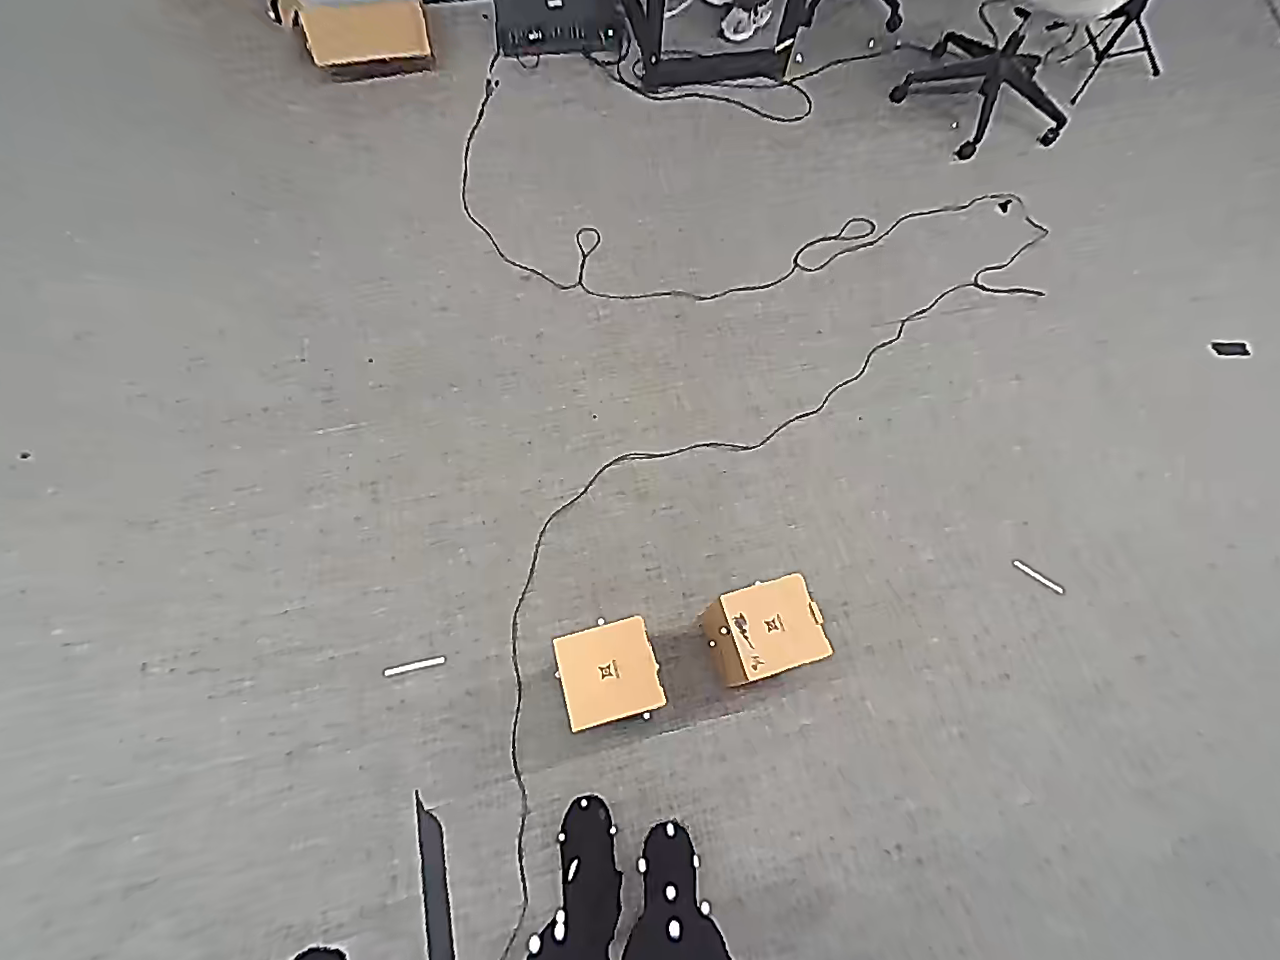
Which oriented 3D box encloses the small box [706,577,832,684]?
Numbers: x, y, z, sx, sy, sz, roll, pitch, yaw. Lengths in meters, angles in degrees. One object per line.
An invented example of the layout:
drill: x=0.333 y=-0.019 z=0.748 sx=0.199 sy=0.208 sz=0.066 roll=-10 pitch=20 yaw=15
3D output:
small box: x=0.253 y=0.309 z=1.103 sx=0.179 sy=0.176 sz=0.168 roll=-13 pitch=70 yaw=-9

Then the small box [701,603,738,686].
small box: x=0.250 y=0.369 z=1.256 sx=0.168 sy=0.176 sz=0.179 roll=-13 pitch=70 yaw=-8

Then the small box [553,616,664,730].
small box: x=-0.061 y=0.379 z=1.061 sx=0.179 sy=0.176 sz=0.168 roll=-14 pitch=70 yaw=-8
